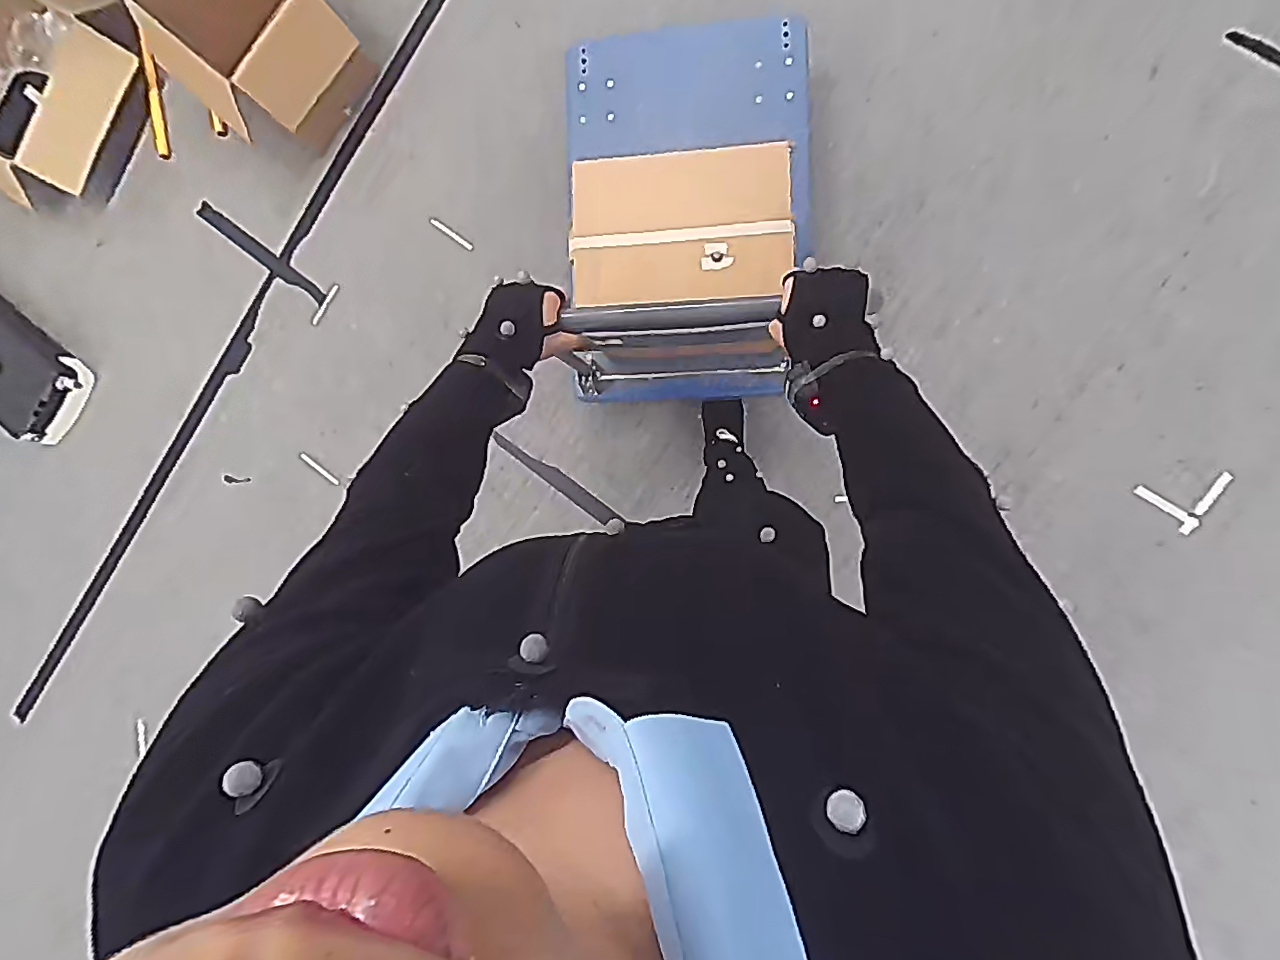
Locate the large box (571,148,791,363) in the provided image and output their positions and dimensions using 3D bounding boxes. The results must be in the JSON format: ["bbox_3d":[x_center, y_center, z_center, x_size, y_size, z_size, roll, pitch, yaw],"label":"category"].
[{"bbox_3d":[0.087,-0.442,1.147,0.408,0.320,0.320,-1,91,6],"label":"large box"}]
